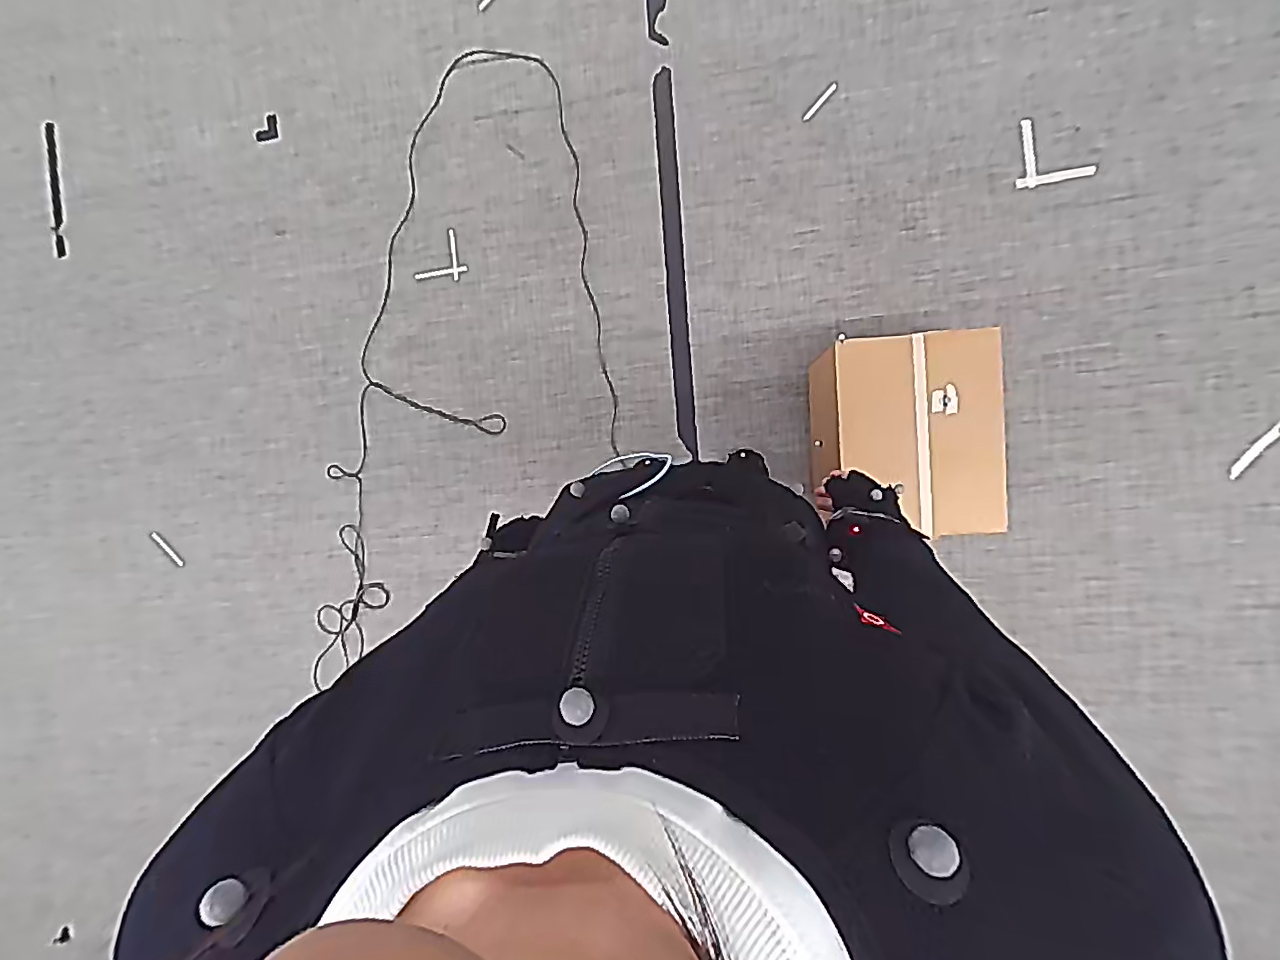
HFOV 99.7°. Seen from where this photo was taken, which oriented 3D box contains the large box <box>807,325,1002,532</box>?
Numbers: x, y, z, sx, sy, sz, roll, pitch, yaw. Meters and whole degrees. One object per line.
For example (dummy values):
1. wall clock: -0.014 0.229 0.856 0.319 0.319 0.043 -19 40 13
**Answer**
1. large box: 0.576 -0.103 1.240 0.320 0.320 0.408 -3 91 6
